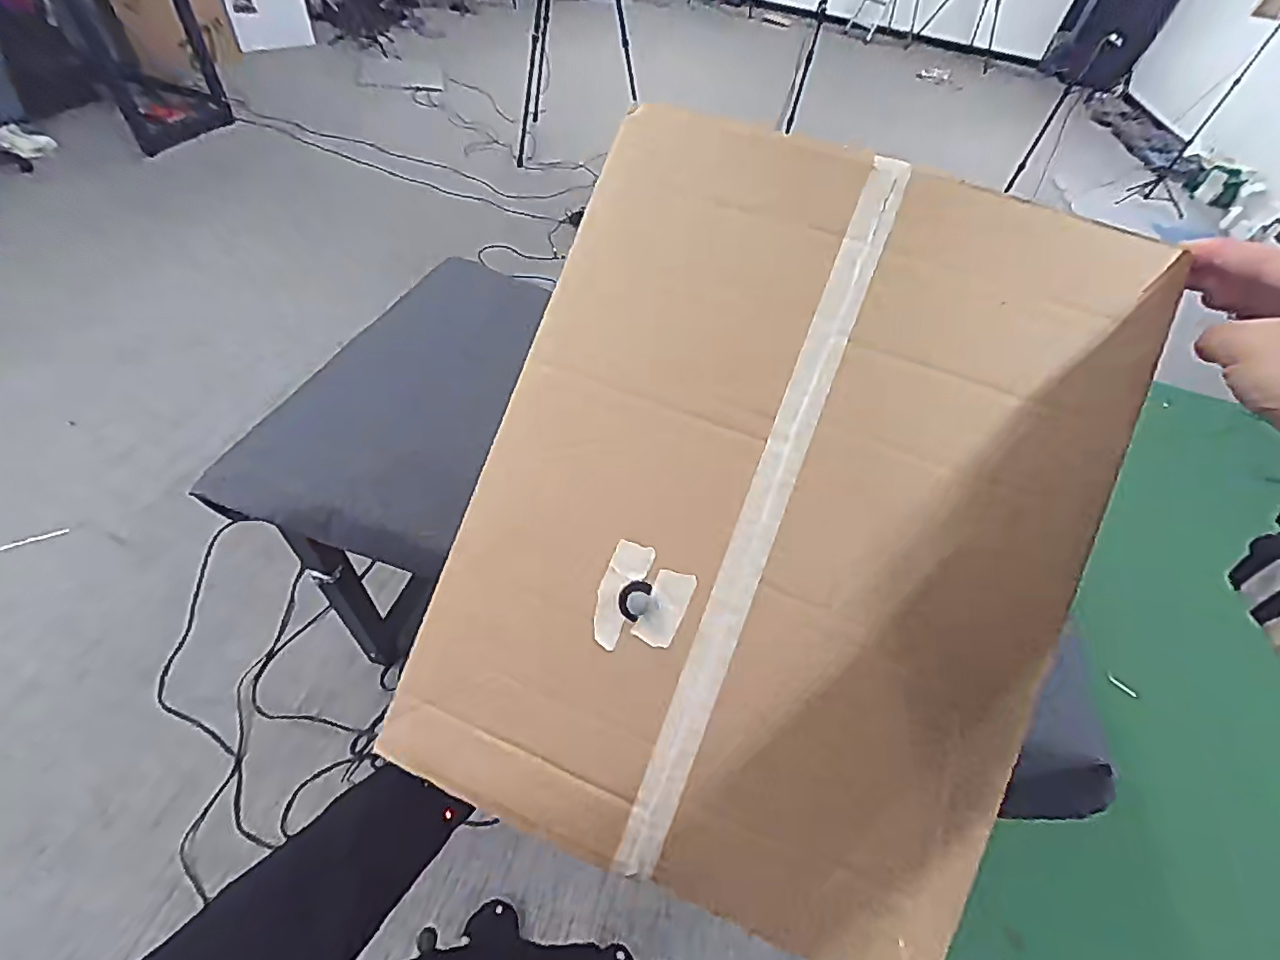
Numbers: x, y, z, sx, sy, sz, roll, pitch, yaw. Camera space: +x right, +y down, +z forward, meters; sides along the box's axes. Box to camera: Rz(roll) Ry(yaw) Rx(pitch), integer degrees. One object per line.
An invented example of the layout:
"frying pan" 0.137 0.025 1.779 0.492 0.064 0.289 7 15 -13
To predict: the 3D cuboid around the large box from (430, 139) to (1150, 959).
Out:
"large box" 0.093 0.031 0.459 0.320 0.320 0.408 20 89 8
